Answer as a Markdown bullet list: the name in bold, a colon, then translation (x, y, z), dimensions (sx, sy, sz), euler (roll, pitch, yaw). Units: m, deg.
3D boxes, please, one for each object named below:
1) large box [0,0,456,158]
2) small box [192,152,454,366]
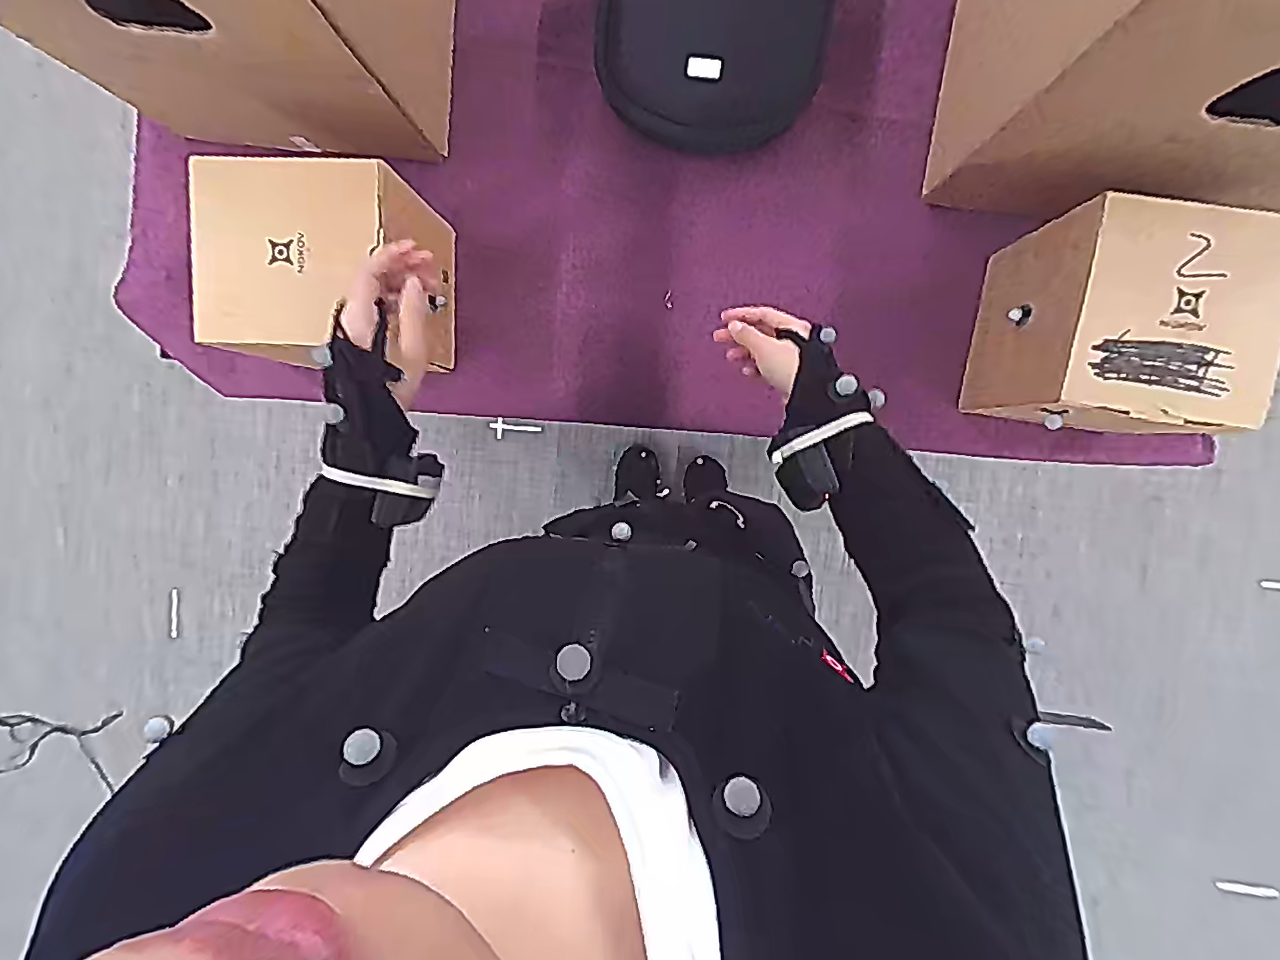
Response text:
- **large box**: translation (-0.357, -0.563, 0.460), dimensions (0.320, 0.320, 0.408), euler (5, 98, 1)
- **small box**: translation (-0.312, -0.213, 0.563), dimensions (0.179, 0.176, 0.168), euler (1, 94, 2)
